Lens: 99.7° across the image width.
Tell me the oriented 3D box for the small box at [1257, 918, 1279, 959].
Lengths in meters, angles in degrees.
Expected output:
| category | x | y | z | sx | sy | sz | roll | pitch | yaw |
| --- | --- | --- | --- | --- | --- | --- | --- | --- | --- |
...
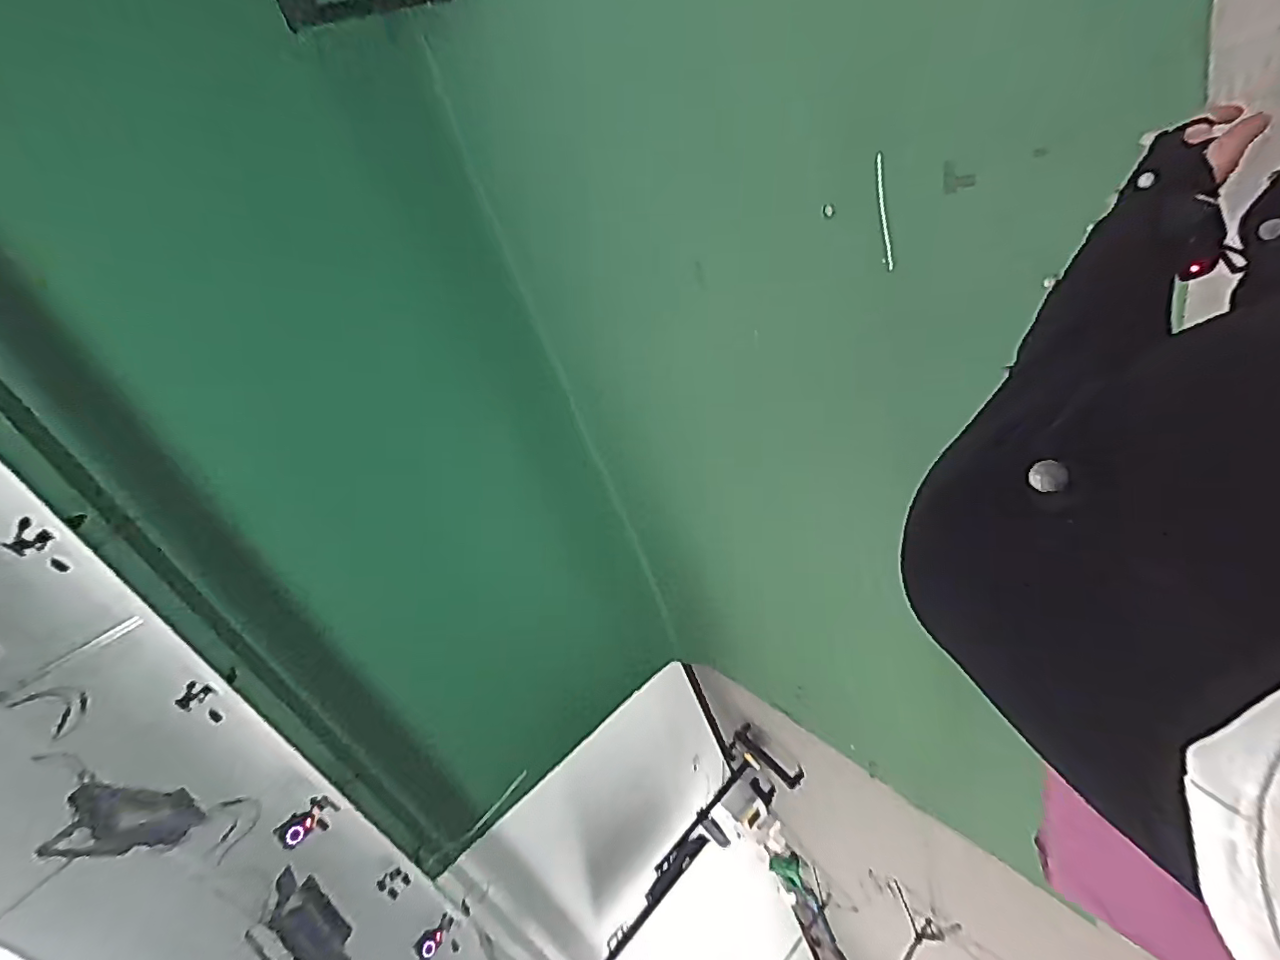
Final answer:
| category | x | y | z | sx | sy | sz | roll | pitch | yaw |
| --- | --- | --- | --- | --- | --- | --- | --- | --- | --- |
| small box | 1.201 | 0.914 | 0.935 | 0.179 | 0.176 | 0.168 | 17 | 136 | 51 |
